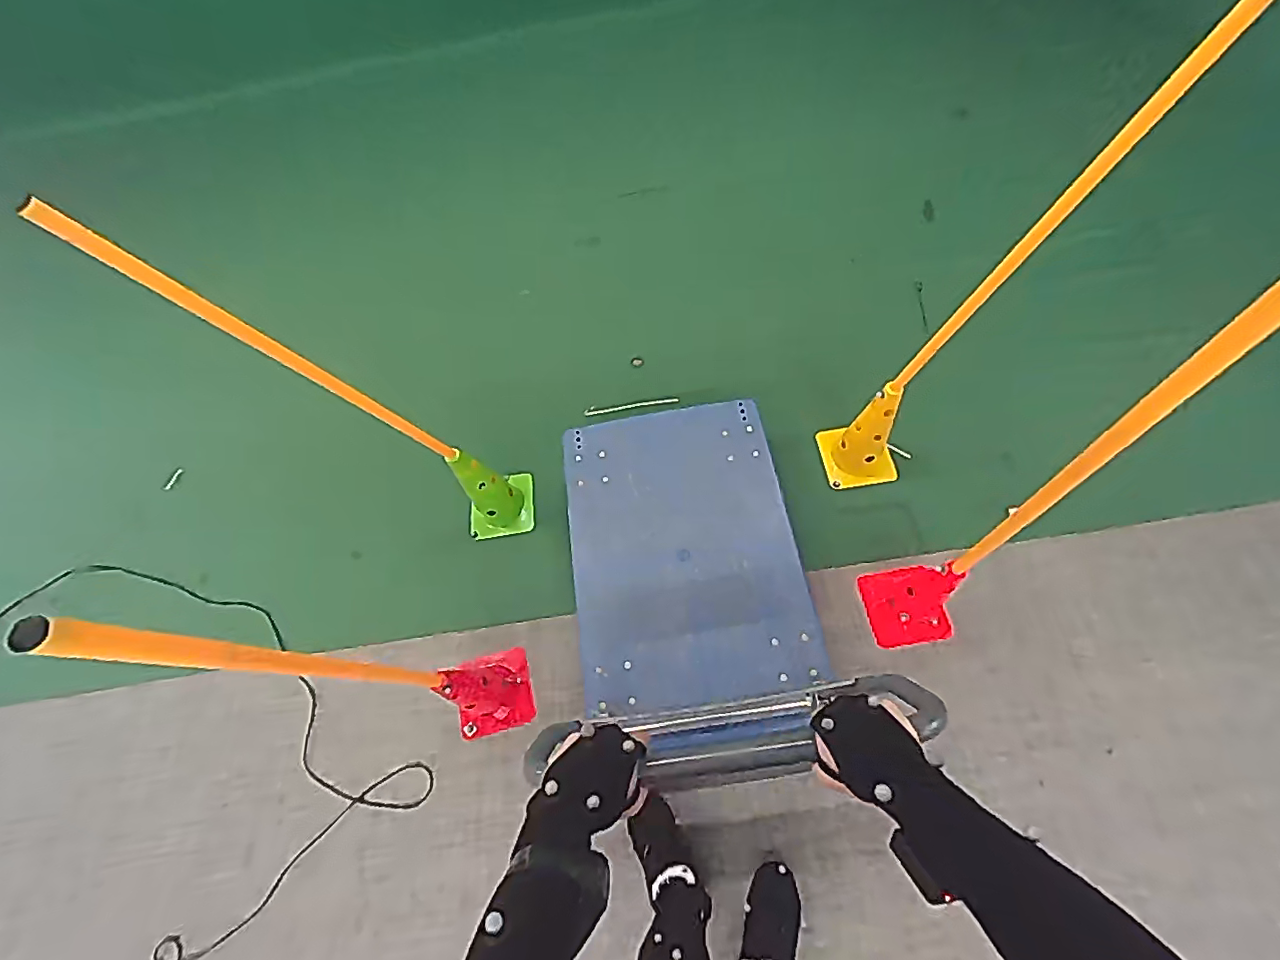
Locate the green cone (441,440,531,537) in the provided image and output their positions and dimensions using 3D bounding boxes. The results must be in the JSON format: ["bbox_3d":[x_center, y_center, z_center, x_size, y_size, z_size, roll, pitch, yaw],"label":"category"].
[{"bbox_3d":[-0.457,-0.002,1.519,0.200,0.368,0.202,-10,63,3],"label":"green cone"}]

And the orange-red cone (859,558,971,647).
[{"bbox_3d":[0.677,0.255,1.267,0.198,0.360,0.199,-9,62,2],"label":"orange-red cone"}]
